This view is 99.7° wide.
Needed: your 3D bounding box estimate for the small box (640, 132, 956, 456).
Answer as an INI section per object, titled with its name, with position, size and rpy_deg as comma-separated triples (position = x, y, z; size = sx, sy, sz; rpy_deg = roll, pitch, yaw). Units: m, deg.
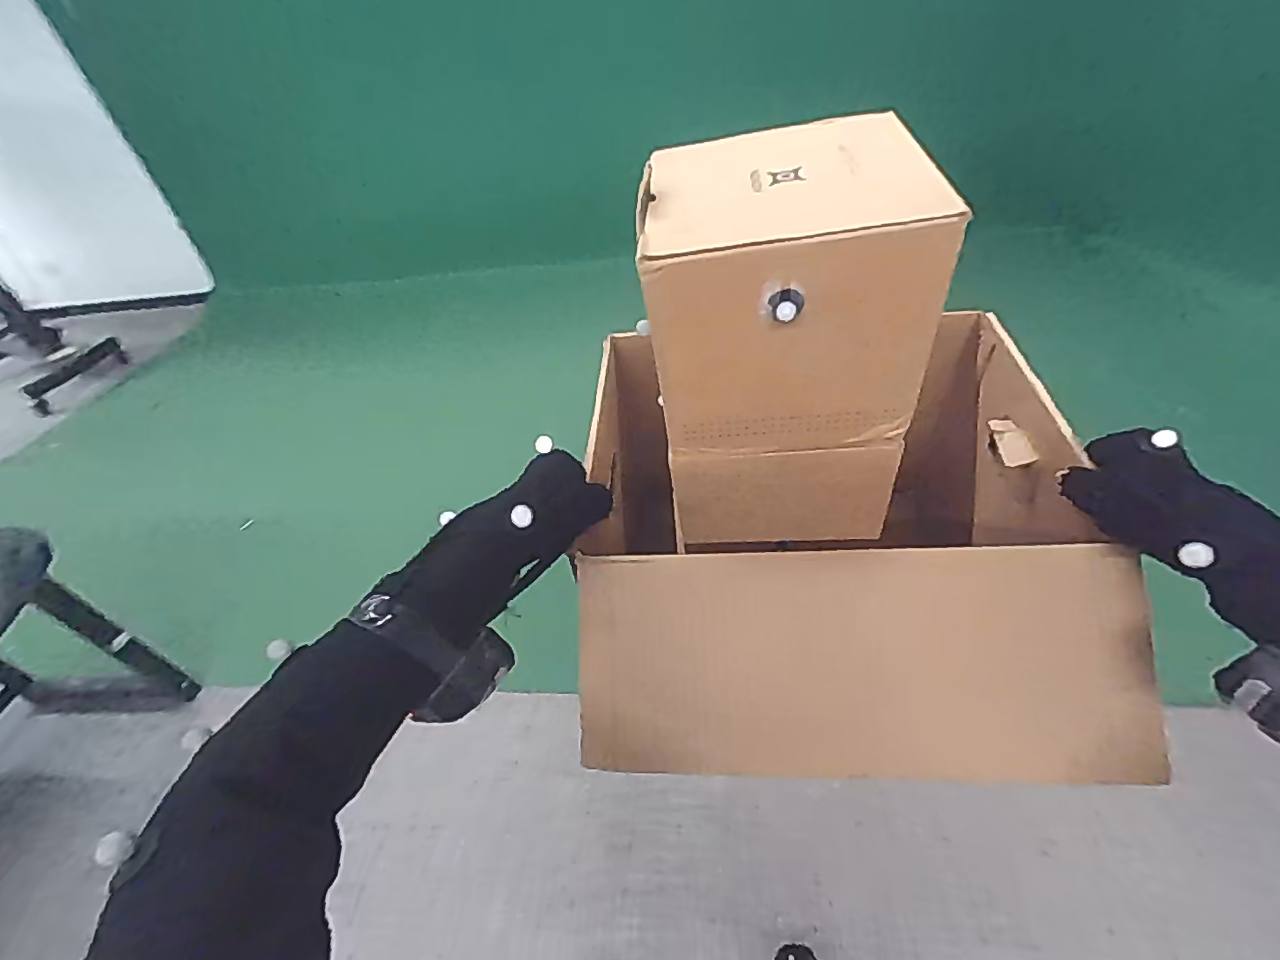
[small box]
position = 0.101, -0.133, 0.412
size = 0.179, 0.176, 0.168
rpy_deg = -4, 49, 7
